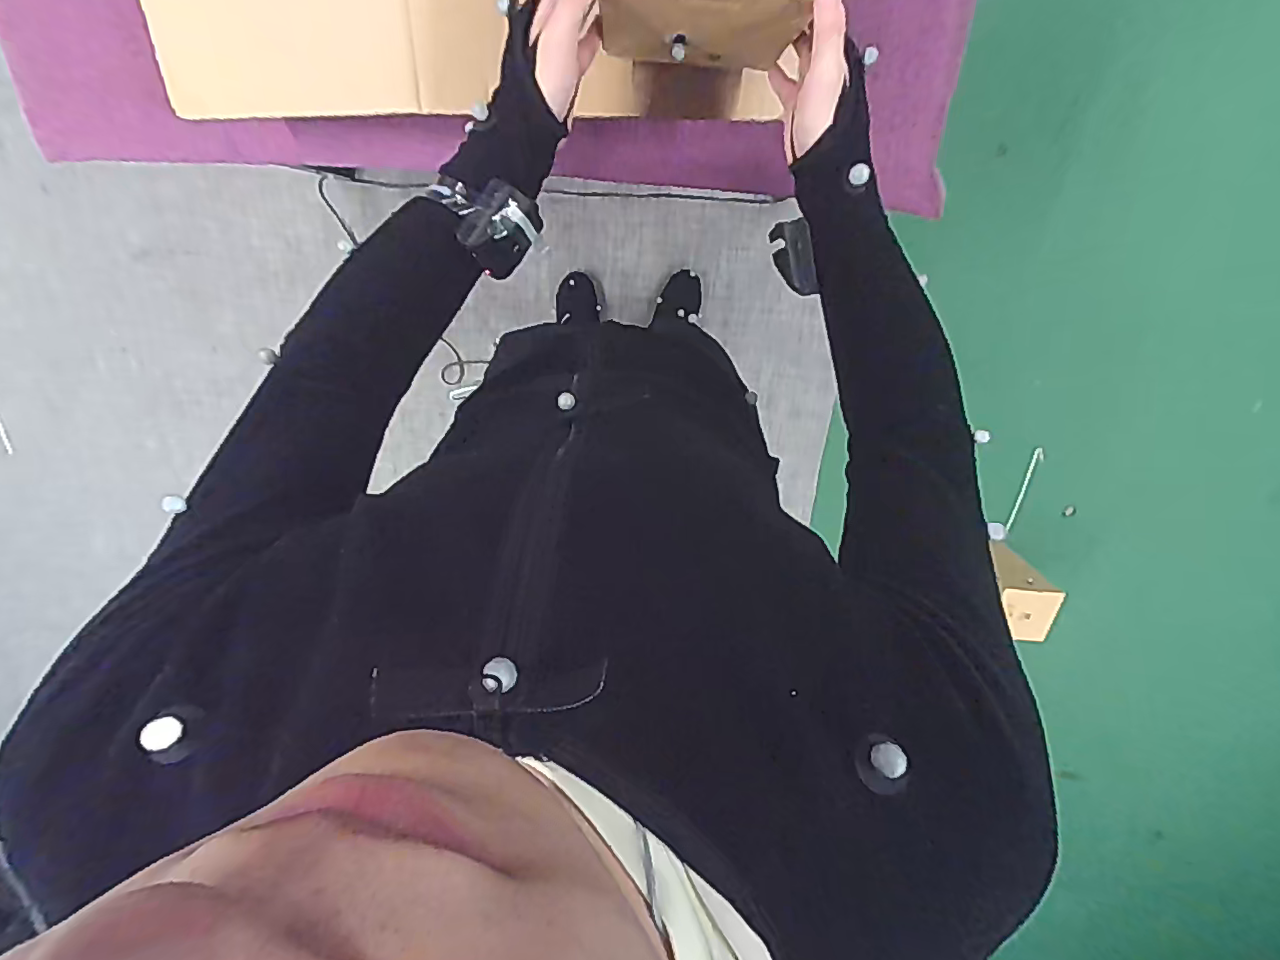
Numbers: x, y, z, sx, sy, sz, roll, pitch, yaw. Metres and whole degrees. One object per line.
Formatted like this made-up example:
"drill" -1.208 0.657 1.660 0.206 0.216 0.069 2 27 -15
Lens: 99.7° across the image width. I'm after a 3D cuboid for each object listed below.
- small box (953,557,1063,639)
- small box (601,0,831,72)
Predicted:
"small box" 1.065 0.340 1.579 0.179 0.176 0.168 5 113 -2
"small box" 0.054 -0.449 0.417 0.168 0.176 0.179 1 115 -3
